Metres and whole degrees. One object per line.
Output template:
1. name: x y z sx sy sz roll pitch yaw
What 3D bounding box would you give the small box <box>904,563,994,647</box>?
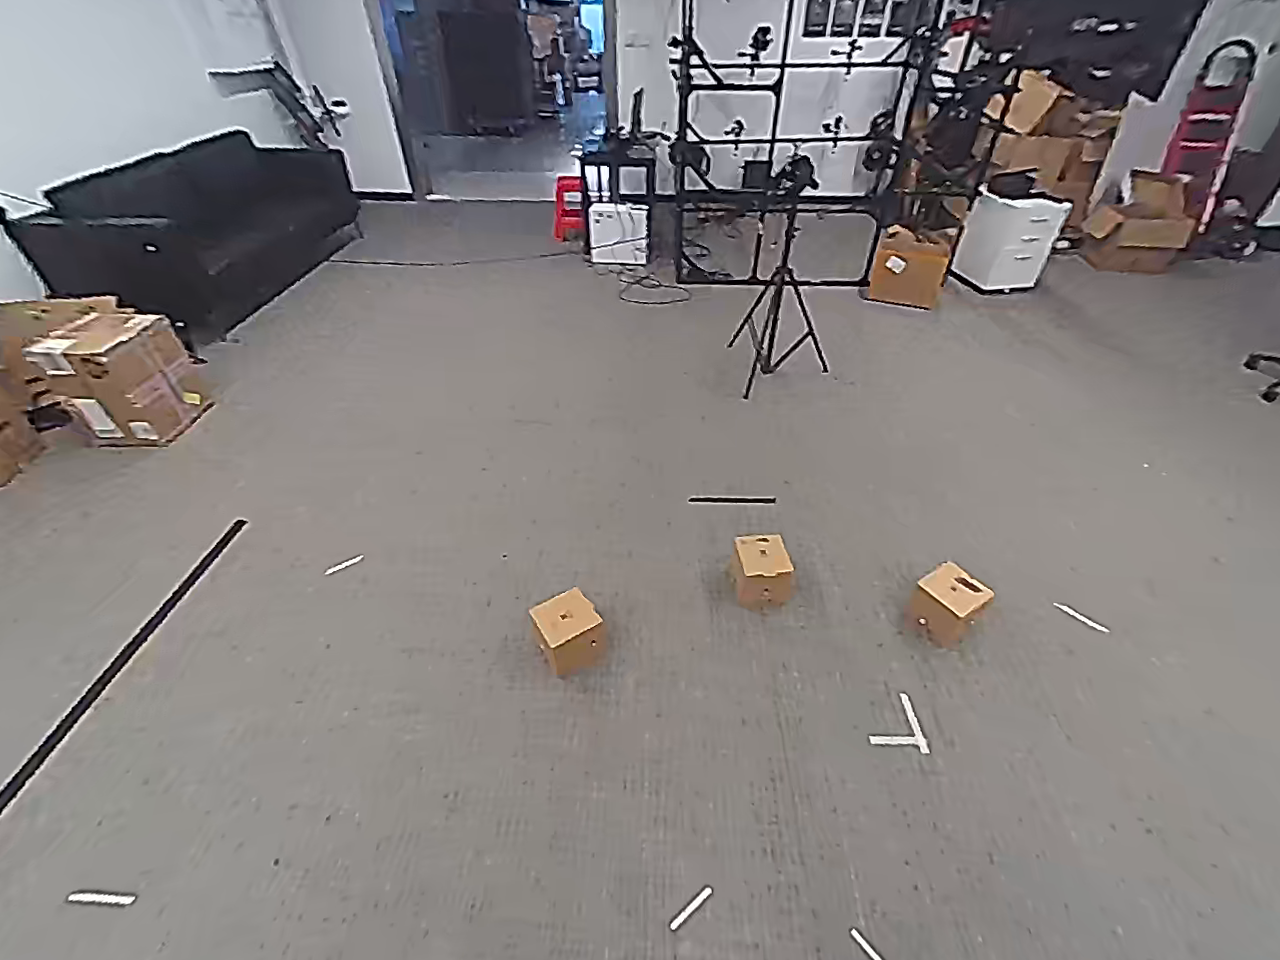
1. small box: 1.003 0.409 1.771 0.179 0.176 0.168 -22 45 -23

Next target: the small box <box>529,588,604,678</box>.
1. small box: -0.226 0.479 1.695 0.179 0.176 0.168 -24 44 -25

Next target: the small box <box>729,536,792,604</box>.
1. small box: 0.414 0.318 1.881 0.168 0.176 0.179 -3 41 -4
